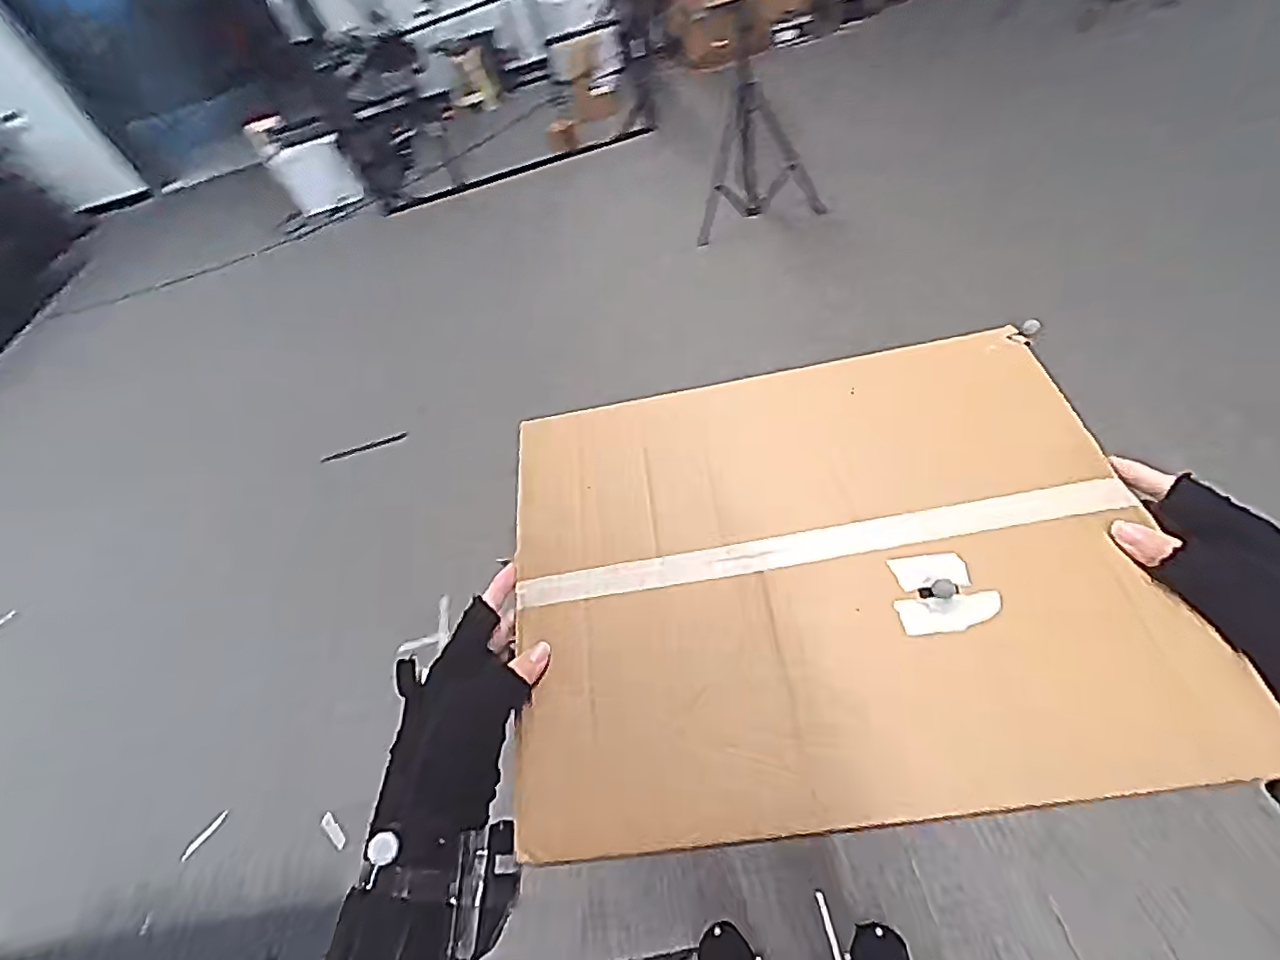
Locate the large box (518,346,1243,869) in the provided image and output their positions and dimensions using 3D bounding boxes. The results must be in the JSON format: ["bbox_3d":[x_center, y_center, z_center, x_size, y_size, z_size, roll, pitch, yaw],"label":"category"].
[{"bbox_3d":[0.130,0.132,0.501,0.408,0.320,0.320,-11,58,4],"label":"large box"}]

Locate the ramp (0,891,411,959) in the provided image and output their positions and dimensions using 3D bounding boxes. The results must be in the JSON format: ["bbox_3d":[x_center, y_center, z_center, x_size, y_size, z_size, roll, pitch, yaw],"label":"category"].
[{"bbox_3d":[-1.007,1.215,1.111,0.991,0.206,0.509,-14,49,4],"label":"ramp"}]
